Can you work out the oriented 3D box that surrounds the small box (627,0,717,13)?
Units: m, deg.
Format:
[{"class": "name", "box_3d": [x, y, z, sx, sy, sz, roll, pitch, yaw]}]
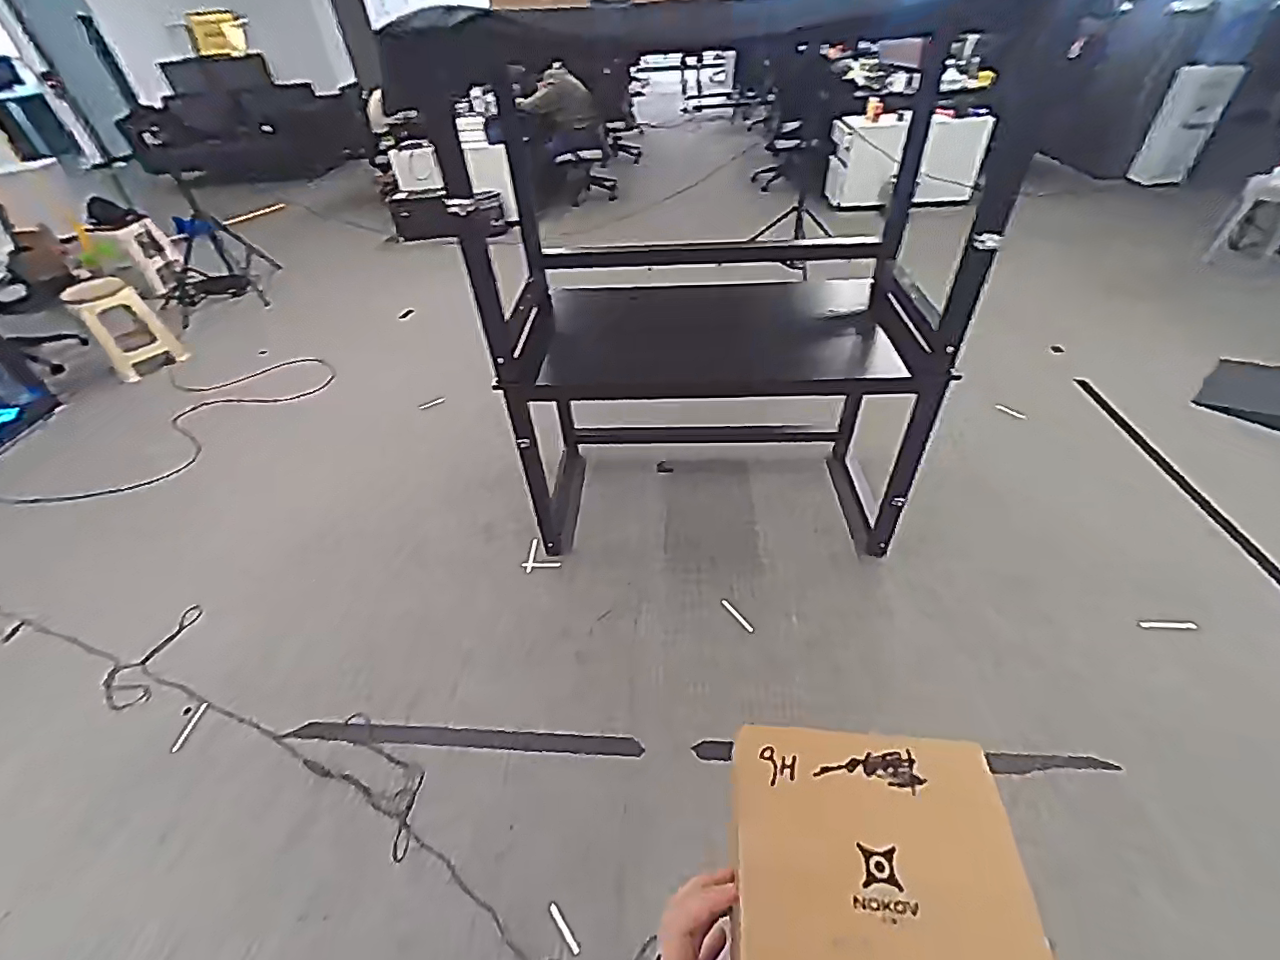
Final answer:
[{"class": "small box", "box_3d": [0.059, -0.947, 0.955, 0.168, 0.176, 0.179, 0, 40, 6]}]

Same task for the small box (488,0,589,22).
[{"class": "small box", "box_3d": [-0.185, -0.928, 0.955, 0.168, 0.176, 0.179, 0, 40, 3]}]

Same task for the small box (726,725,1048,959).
[{"class": "small box", "box_3d": [0.146, 0.294, 0.371, 0.168, 0.176, 0.179, 1, 45, 8]}]
